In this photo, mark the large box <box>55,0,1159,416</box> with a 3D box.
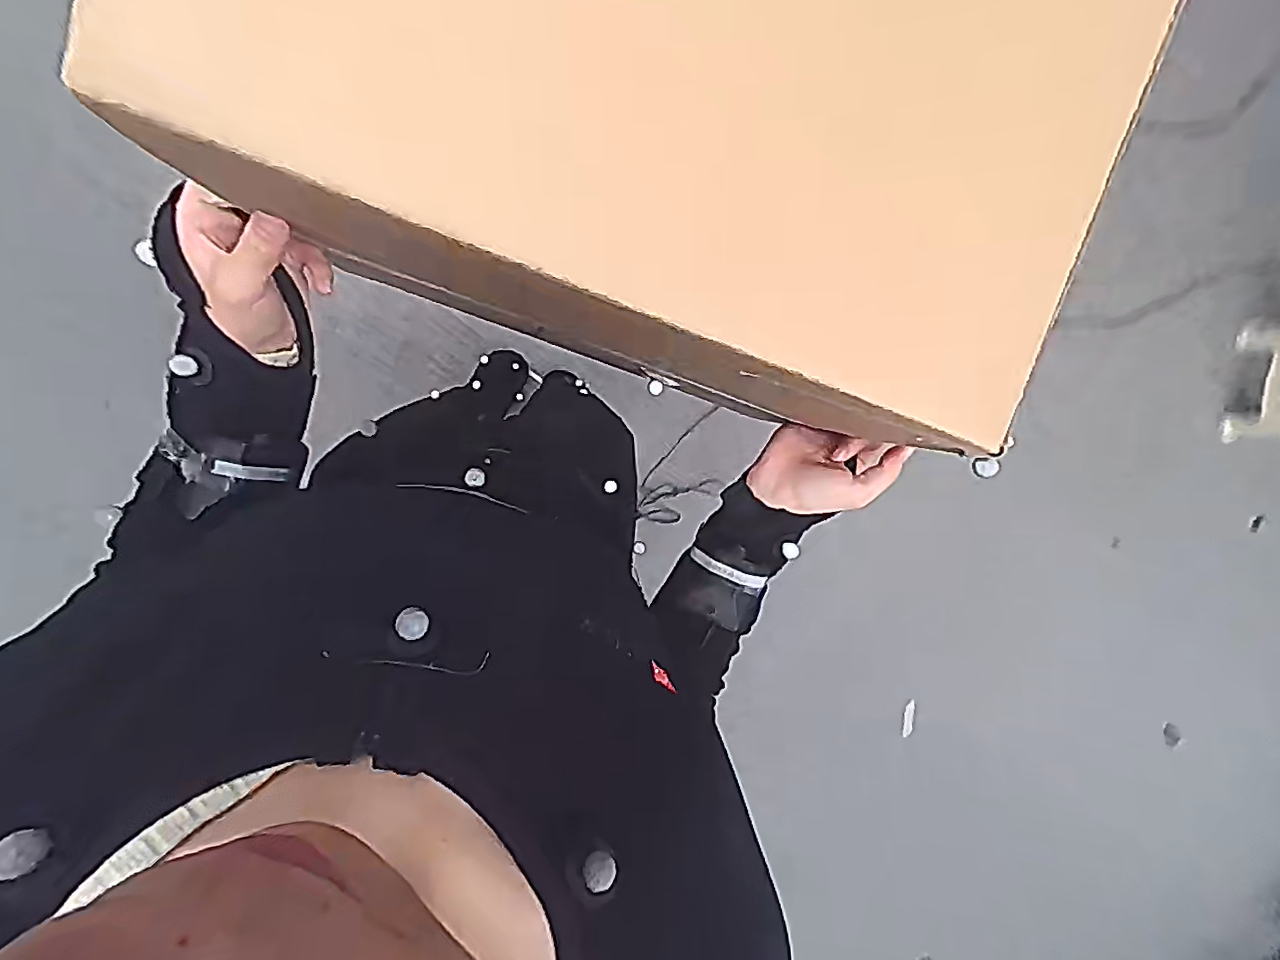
[{"bbox_3d":[0.008,-0.252,0.342,0.408,0.320,0.320,15,98,-16],"label":"large box"}]
